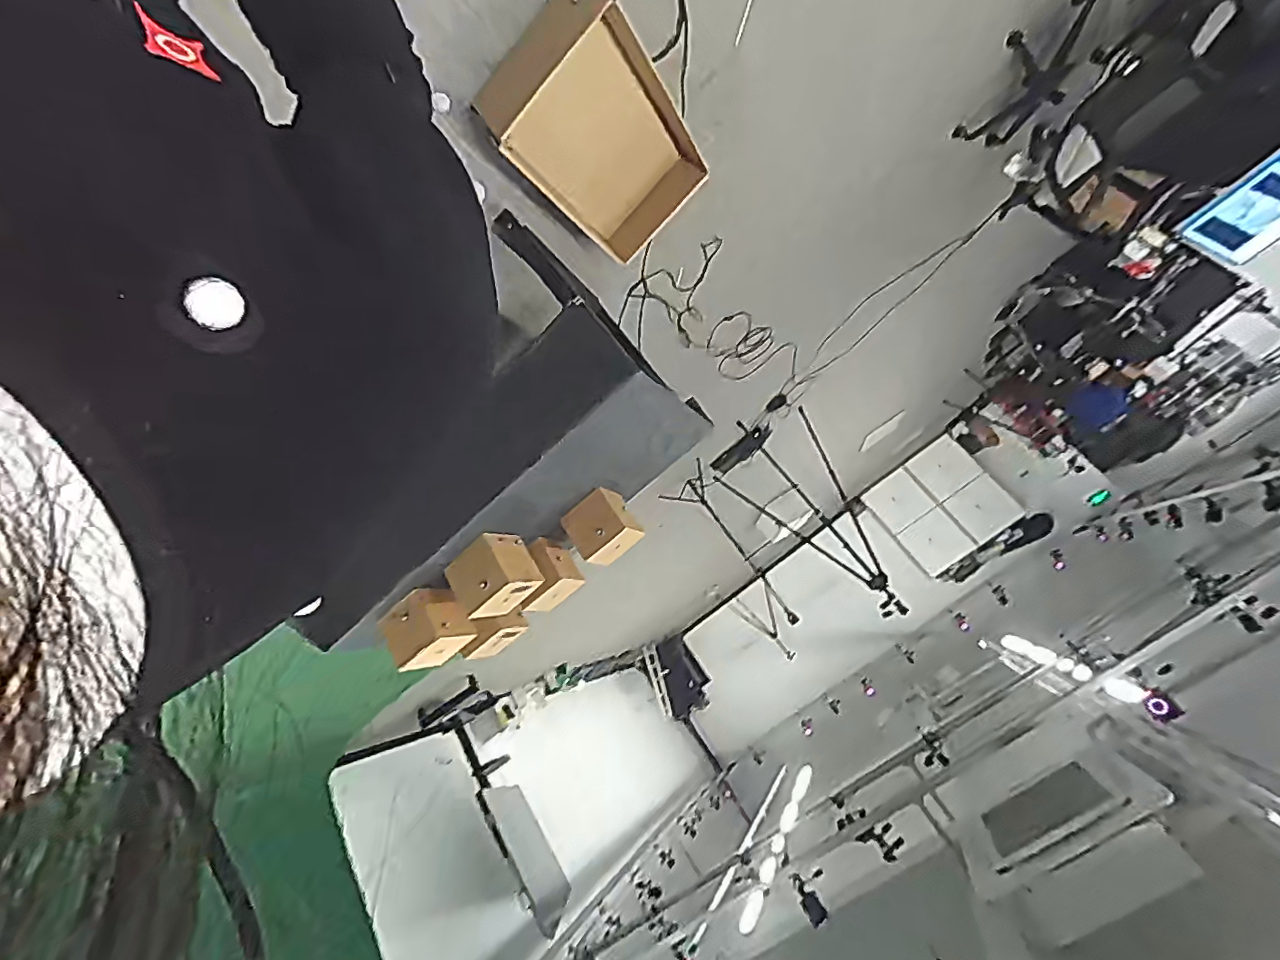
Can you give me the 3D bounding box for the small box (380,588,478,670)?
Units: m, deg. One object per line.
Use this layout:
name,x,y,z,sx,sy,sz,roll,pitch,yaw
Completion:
small box,-0.621,0.431,1.590,0.168,0.176,0.179,-40,158,8

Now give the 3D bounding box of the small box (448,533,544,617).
small box,-0.418,0.268,1.557,0.179,0.176,0.168,-42,157,14
